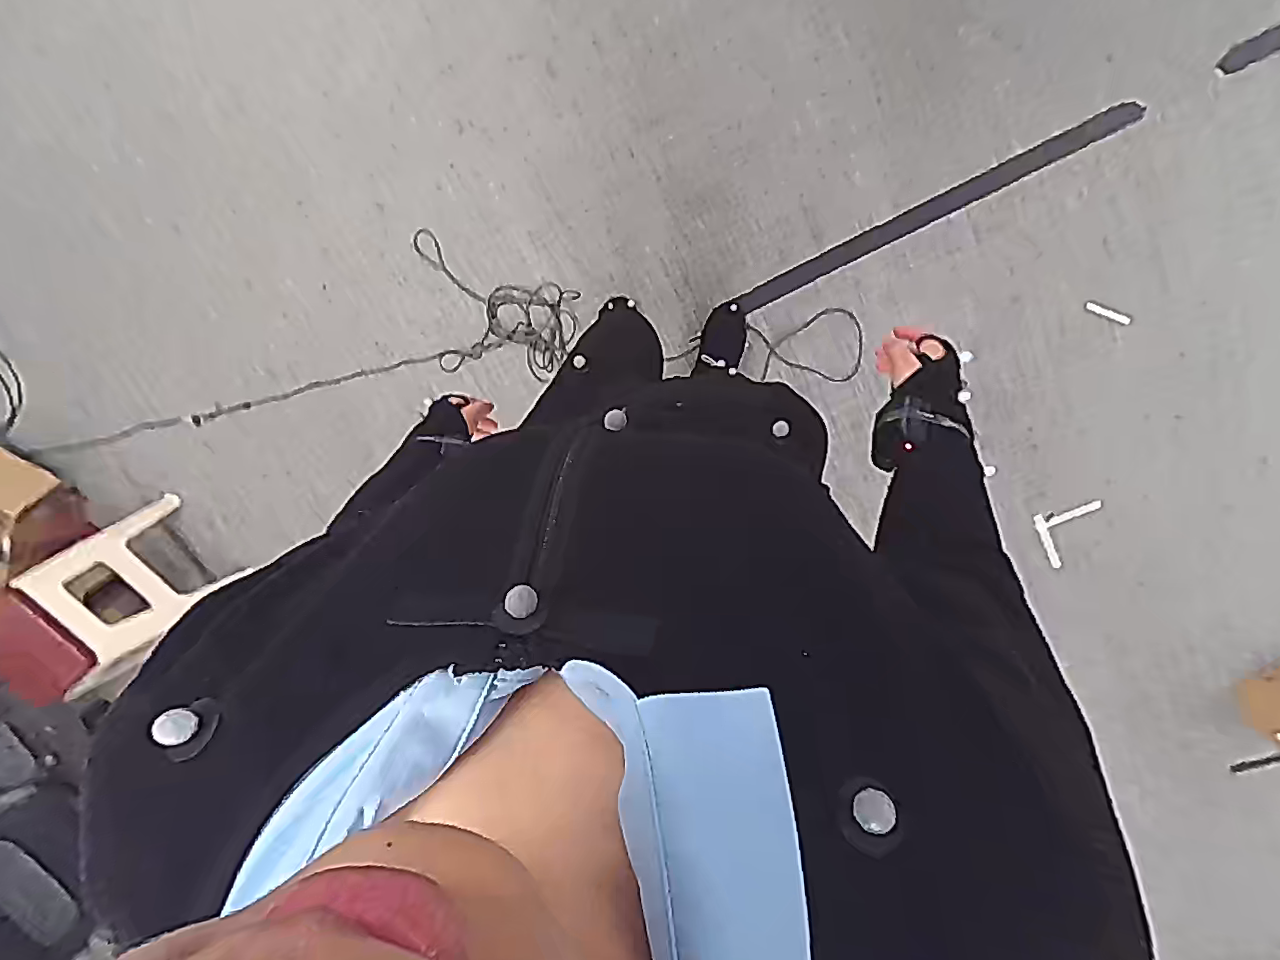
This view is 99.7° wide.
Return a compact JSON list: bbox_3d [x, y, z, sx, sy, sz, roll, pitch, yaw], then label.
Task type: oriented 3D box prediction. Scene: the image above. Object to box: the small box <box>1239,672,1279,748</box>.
[{"bbox_3d":[1.759,0.626,1.429,0.168,0.176,0.179,-26,104,15],"label":"small box"}]
